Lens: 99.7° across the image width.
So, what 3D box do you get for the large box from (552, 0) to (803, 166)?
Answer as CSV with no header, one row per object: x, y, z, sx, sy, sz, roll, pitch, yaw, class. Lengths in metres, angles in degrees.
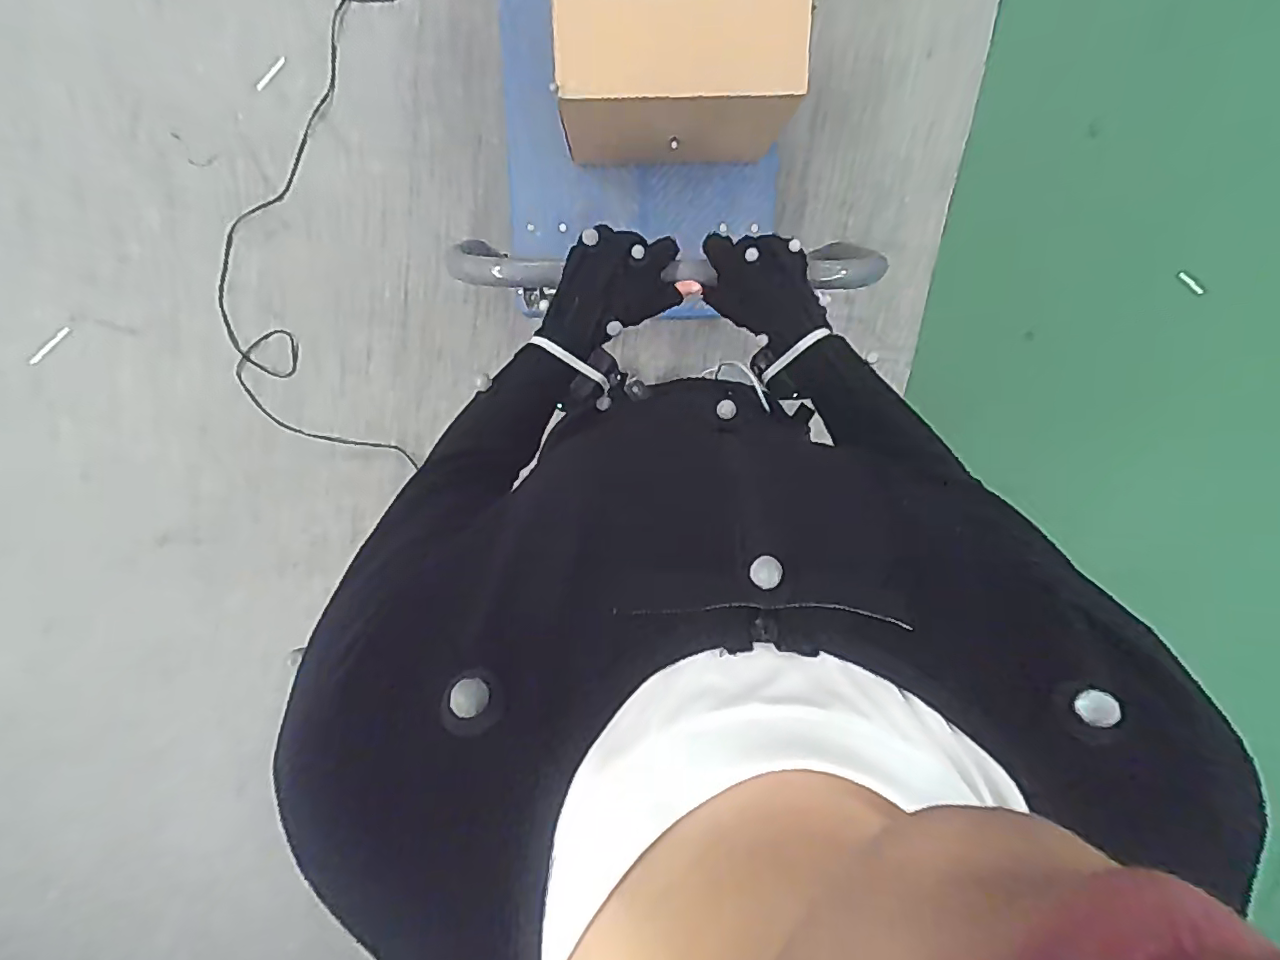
0.060,-0.799,0.992,0.408,0.320,0.320,-1,102,0,large box
